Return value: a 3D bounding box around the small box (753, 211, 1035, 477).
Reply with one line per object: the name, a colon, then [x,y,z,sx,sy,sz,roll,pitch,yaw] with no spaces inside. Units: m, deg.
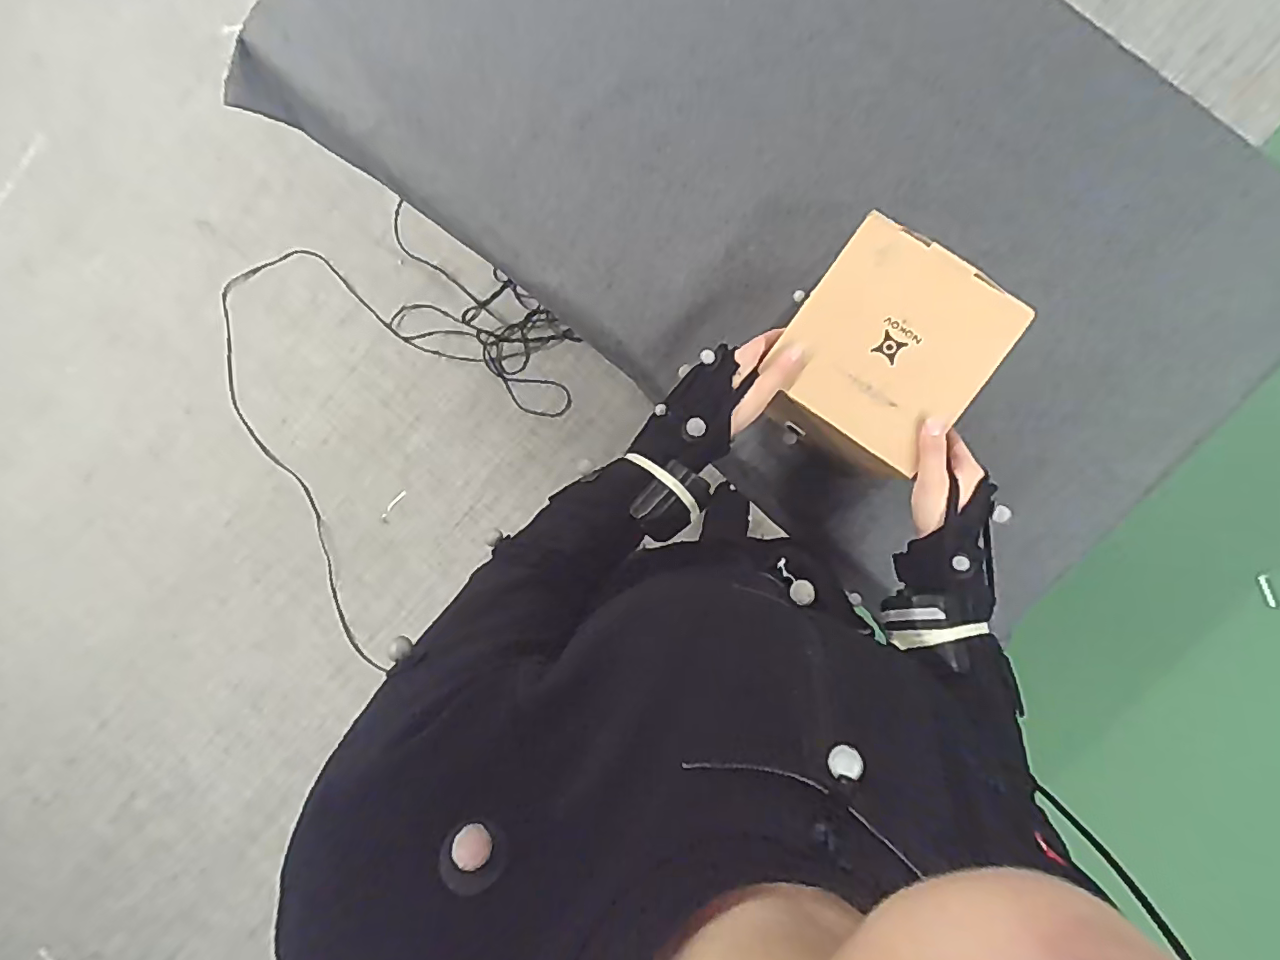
small box: [0.228,-0.119,0.544,0.168,0.176,0.179,35,95,6]
